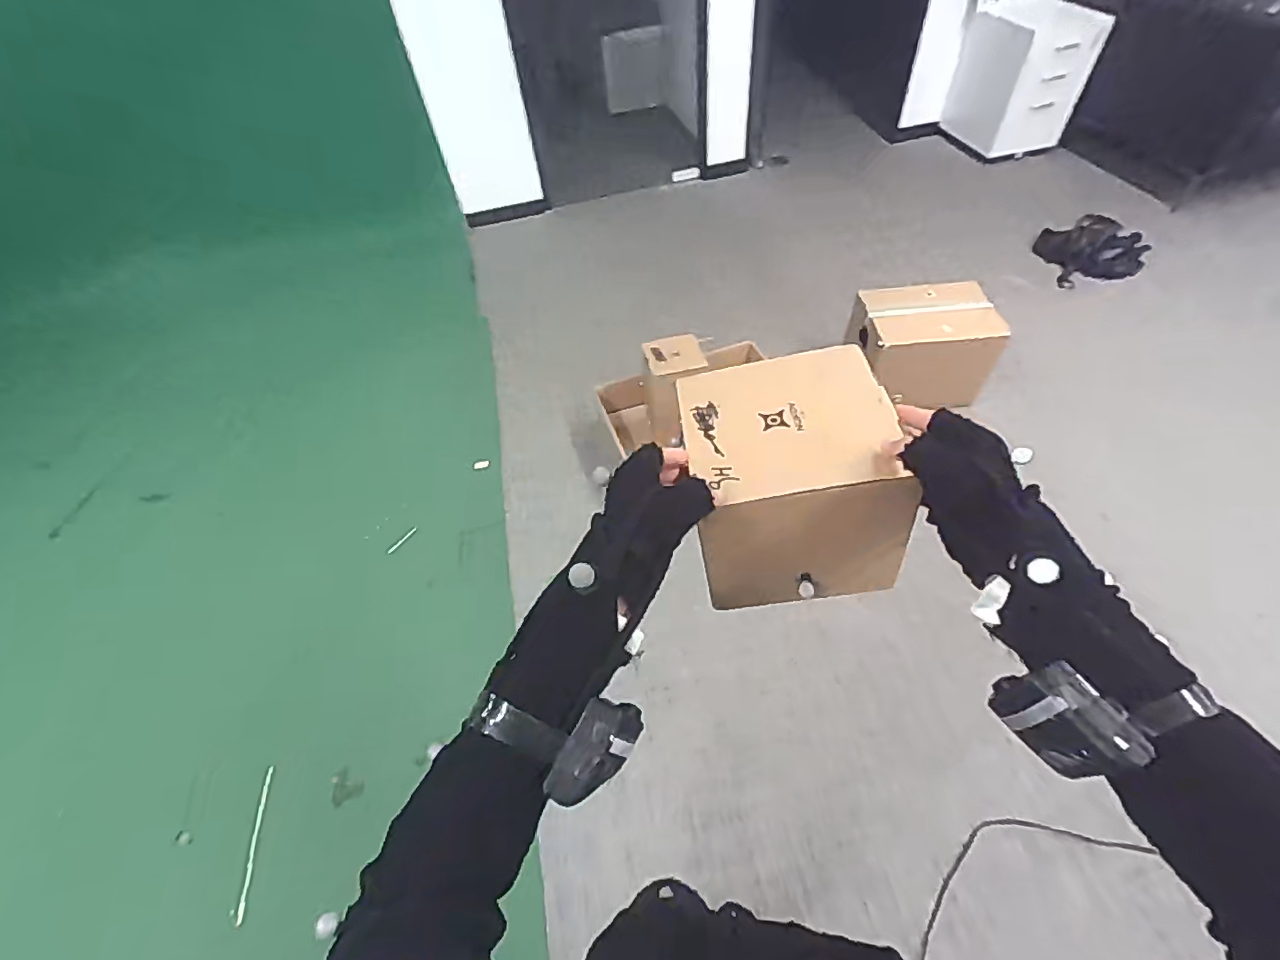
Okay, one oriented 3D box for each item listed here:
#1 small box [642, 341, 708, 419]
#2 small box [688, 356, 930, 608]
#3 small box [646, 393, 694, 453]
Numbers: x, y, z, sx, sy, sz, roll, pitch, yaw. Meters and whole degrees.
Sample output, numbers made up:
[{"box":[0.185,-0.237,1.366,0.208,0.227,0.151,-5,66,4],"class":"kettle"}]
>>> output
[{"box":[0.111,-0.316,1.736,0.179,0.176,0.168,-12,52,-7],"class":"small box"},{"box":[0.147,0.007,0.527,0.179,0.176,0.168,-8,45,6],"class":"small box"},{"box":[0.125,-0.212,1.863,0.179,0.176,0.168,-12,51,-6],"class":"small box"}]
